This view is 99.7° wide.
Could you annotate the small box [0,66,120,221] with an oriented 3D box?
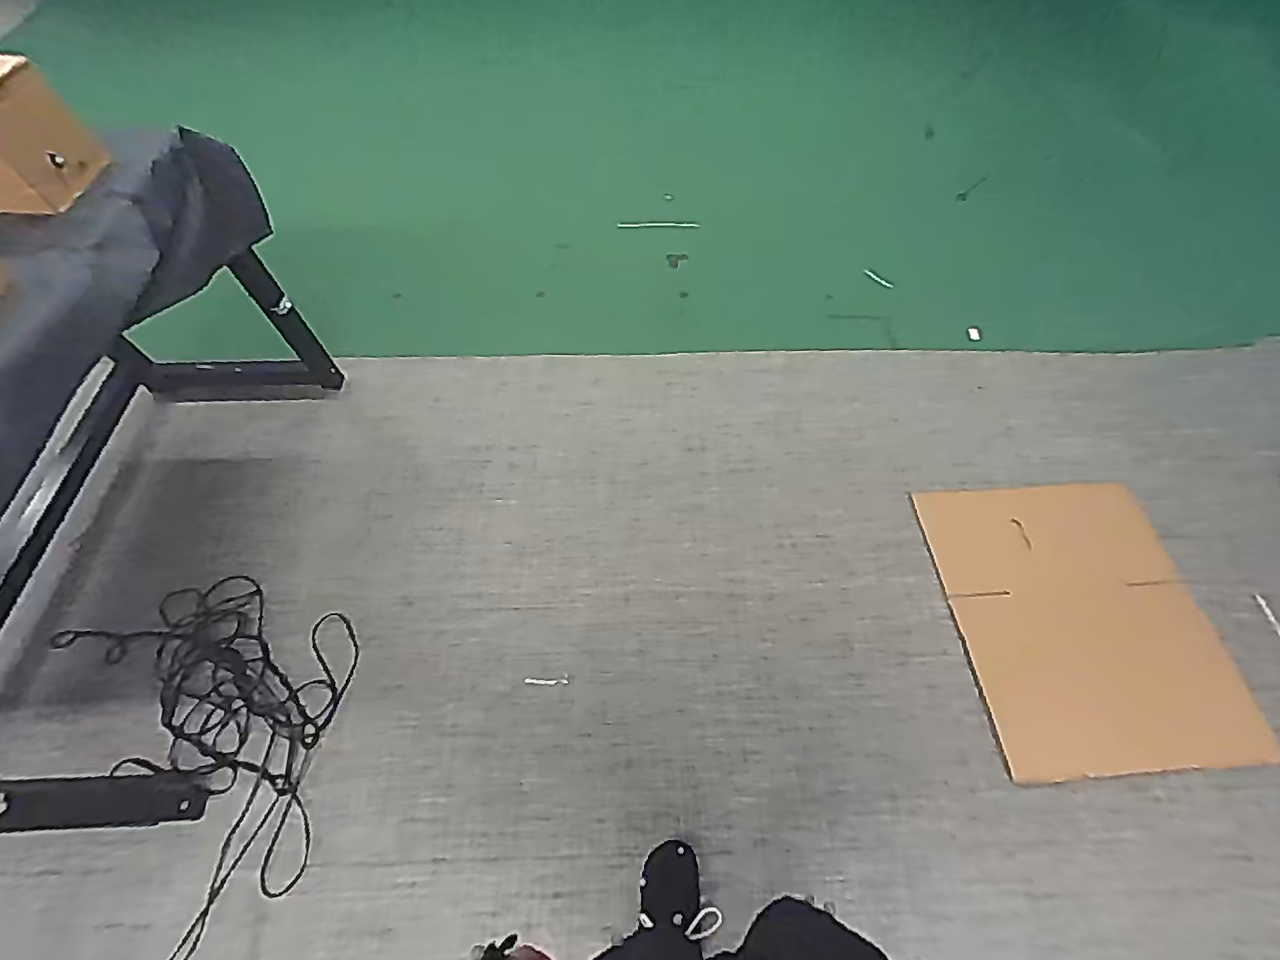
[{"bbox_3d":[-1.057,-0.558,0.904,0.179,0.176,0.168,2,60,2],"label":"small box"}]
